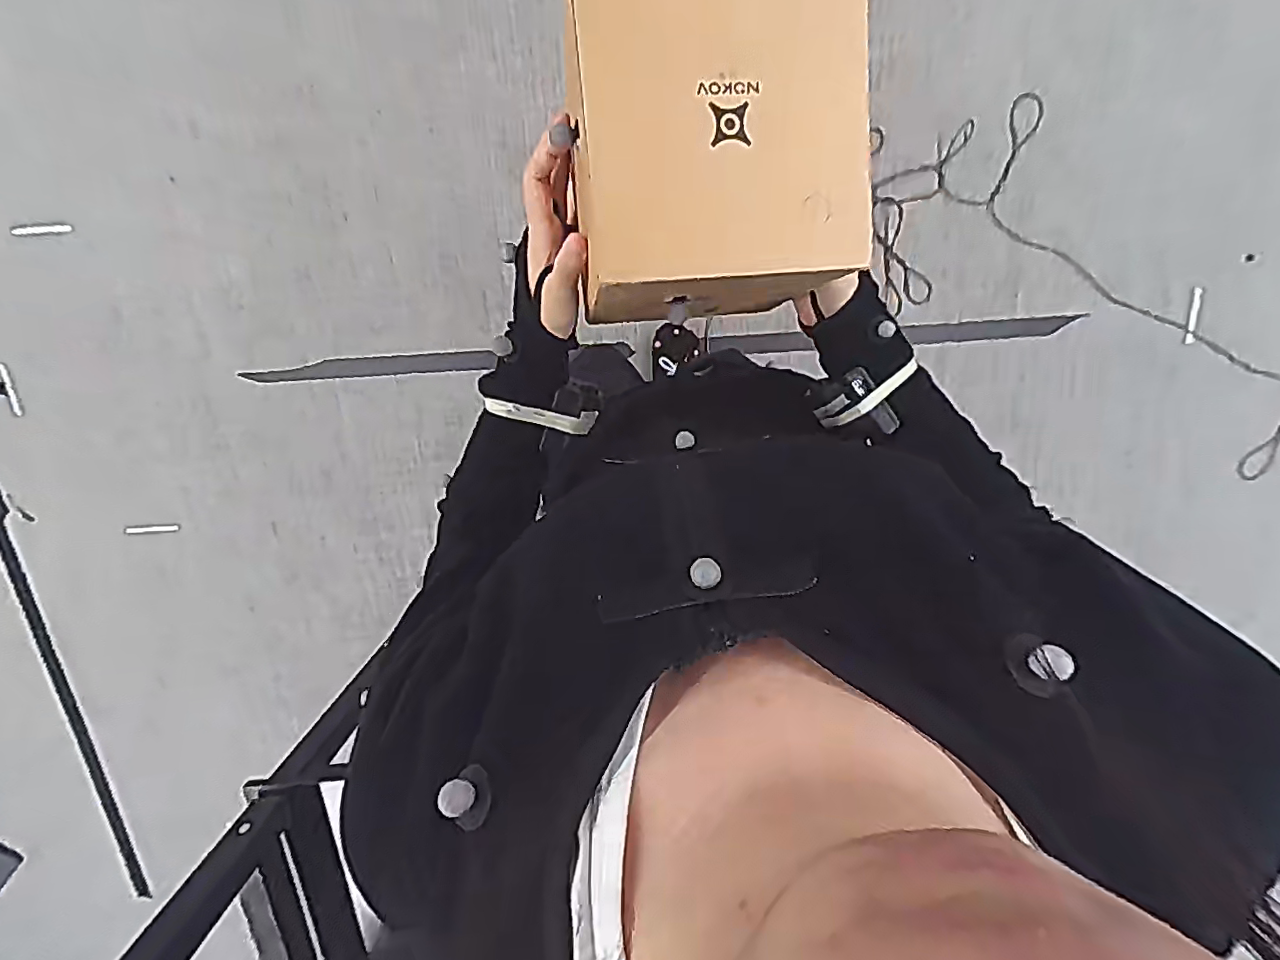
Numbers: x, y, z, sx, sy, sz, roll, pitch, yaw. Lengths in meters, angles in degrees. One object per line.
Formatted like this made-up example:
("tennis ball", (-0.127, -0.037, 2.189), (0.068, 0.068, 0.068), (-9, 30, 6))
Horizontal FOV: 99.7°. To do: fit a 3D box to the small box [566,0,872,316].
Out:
("small box", (0.040, -0.218, 0.379), (0.168, 0.176, 0.179), (-7, 97, -7))
